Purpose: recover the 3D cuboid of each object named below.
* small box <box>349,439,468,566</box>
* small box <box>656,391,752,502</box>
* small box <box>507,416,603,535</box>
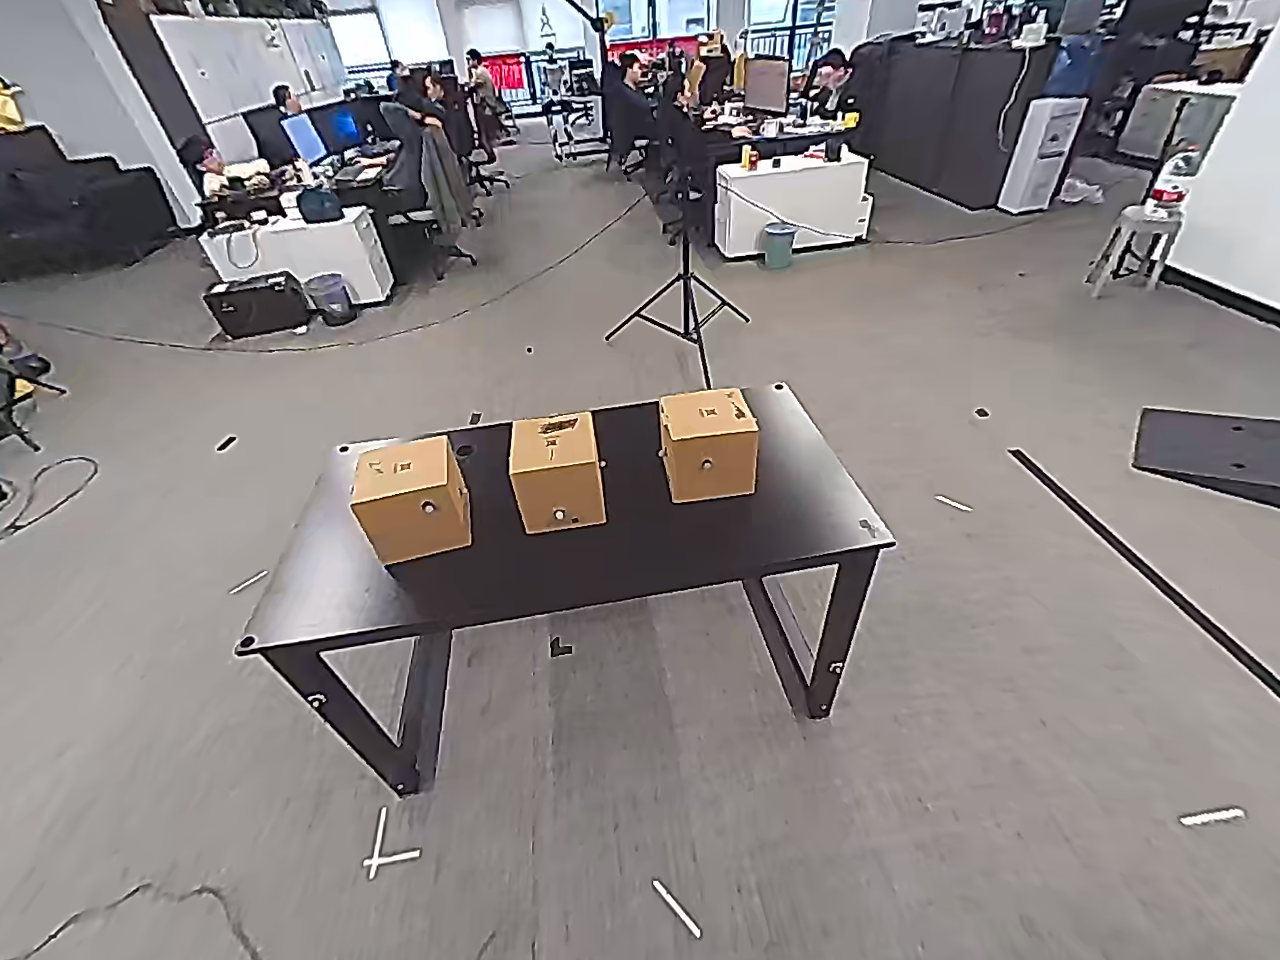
[{"bbox_3d":[-0.455,0.046,1.094,0.179,0.176,0.168,-14,41,-9],"label":"small box"},{"bbox_3d":[0.136,-0.068,1.159,0.179,0.176,0.168,-8,40,-1],"label":"small box"},{"bbox_3d":[-0.172,-0.010,1.128,0.168,0.176,0.179,-8,41,-3],"label":"small box"}]
